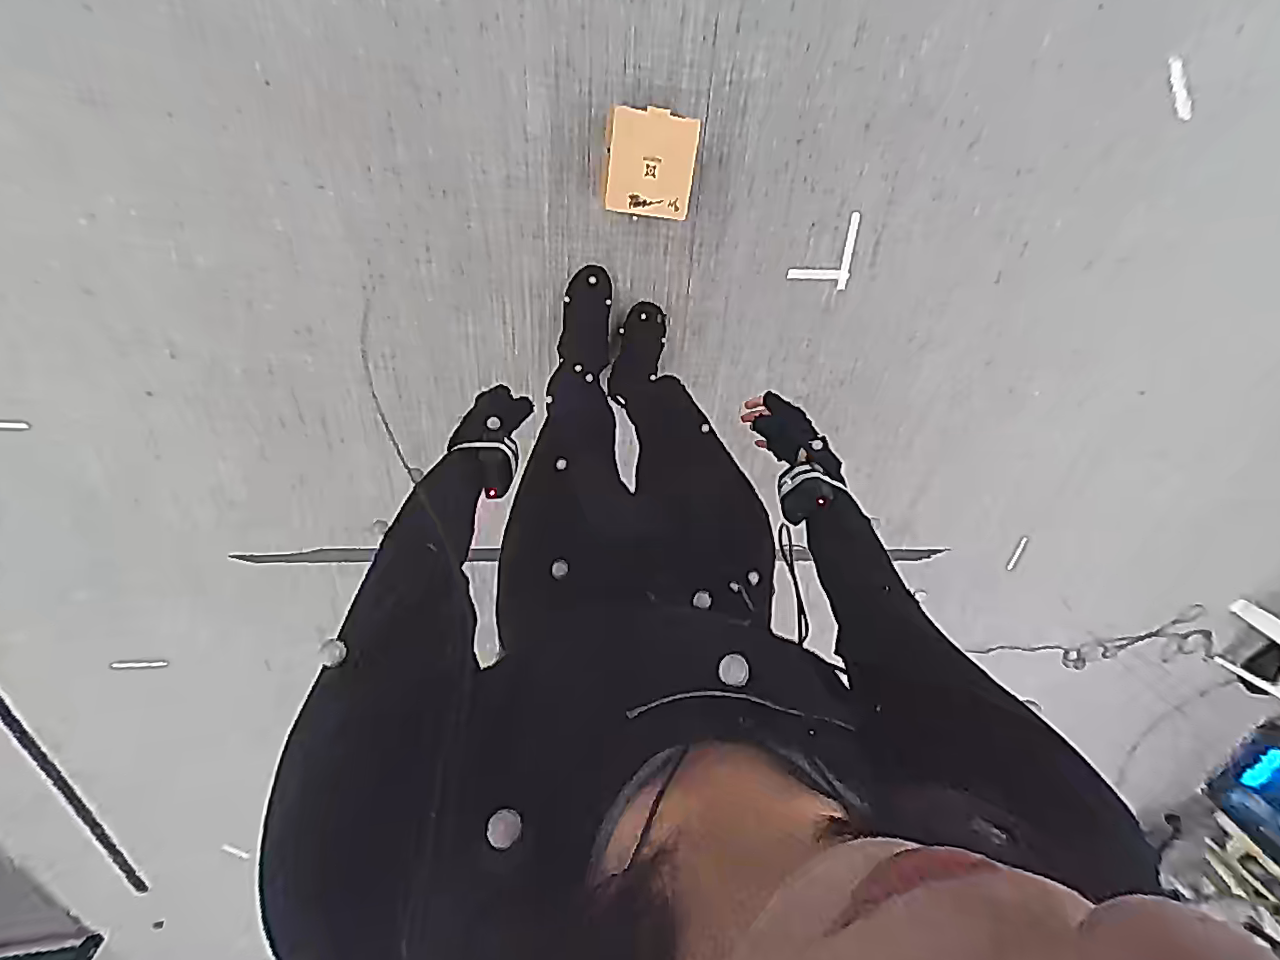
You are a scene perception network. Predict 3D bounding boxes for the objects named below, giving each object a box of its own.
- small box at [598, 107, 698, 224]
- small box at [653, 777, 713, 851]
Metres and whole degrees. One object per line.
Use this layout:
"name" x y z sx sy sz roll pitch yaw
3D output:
"small box" 0.007 -0.637 1.108 0.168 0.176 0.179 3 118 -11
"small box" 0.148 1.200 1.948 0.179 0.176 0.168 1 120 -9
